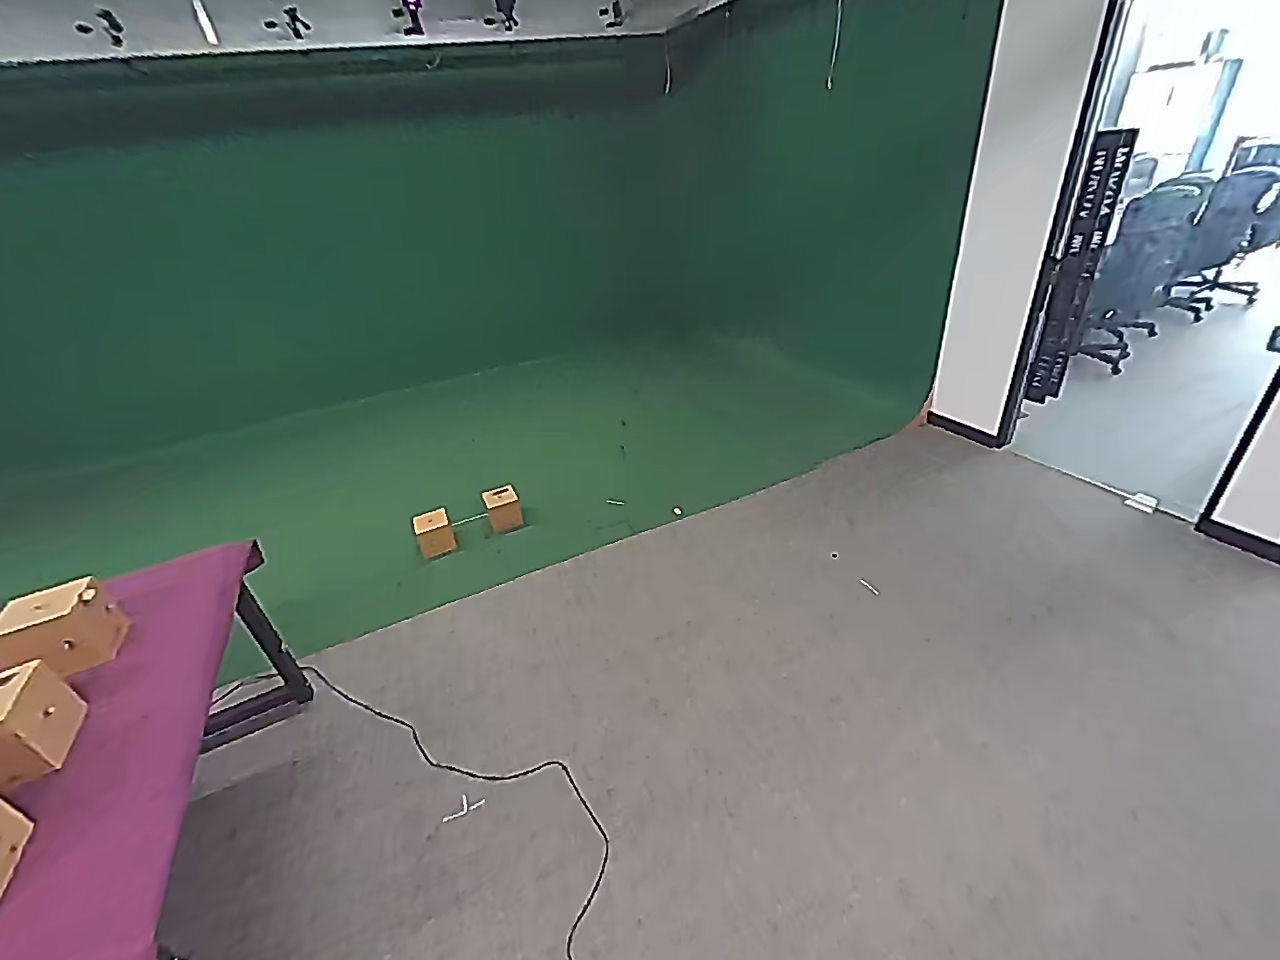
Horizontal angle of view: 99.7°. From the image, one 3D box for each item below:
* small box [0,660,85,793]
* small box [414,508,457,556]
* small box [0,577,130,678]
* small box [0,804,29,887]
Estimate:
[{"bbox_3d":[-1.312,0.516,1.113,0.168,0.176,0.179,-20,34,-20],"label":"small box"},{"bbox_3d":[-1.079,0.283,2.853,0.168,0.176,0.179,-20,32,-19],"label":"small box"},{"bbox_3d":[-1.456,0.382,1.366,0.179,0.176,0.168,-20,33,-19],"label":"small box"},{"bbox_3d":[-1.184,0.640,0.882,0.179,0.176,0.168,-19,32,-20],"label":"small box"}]
